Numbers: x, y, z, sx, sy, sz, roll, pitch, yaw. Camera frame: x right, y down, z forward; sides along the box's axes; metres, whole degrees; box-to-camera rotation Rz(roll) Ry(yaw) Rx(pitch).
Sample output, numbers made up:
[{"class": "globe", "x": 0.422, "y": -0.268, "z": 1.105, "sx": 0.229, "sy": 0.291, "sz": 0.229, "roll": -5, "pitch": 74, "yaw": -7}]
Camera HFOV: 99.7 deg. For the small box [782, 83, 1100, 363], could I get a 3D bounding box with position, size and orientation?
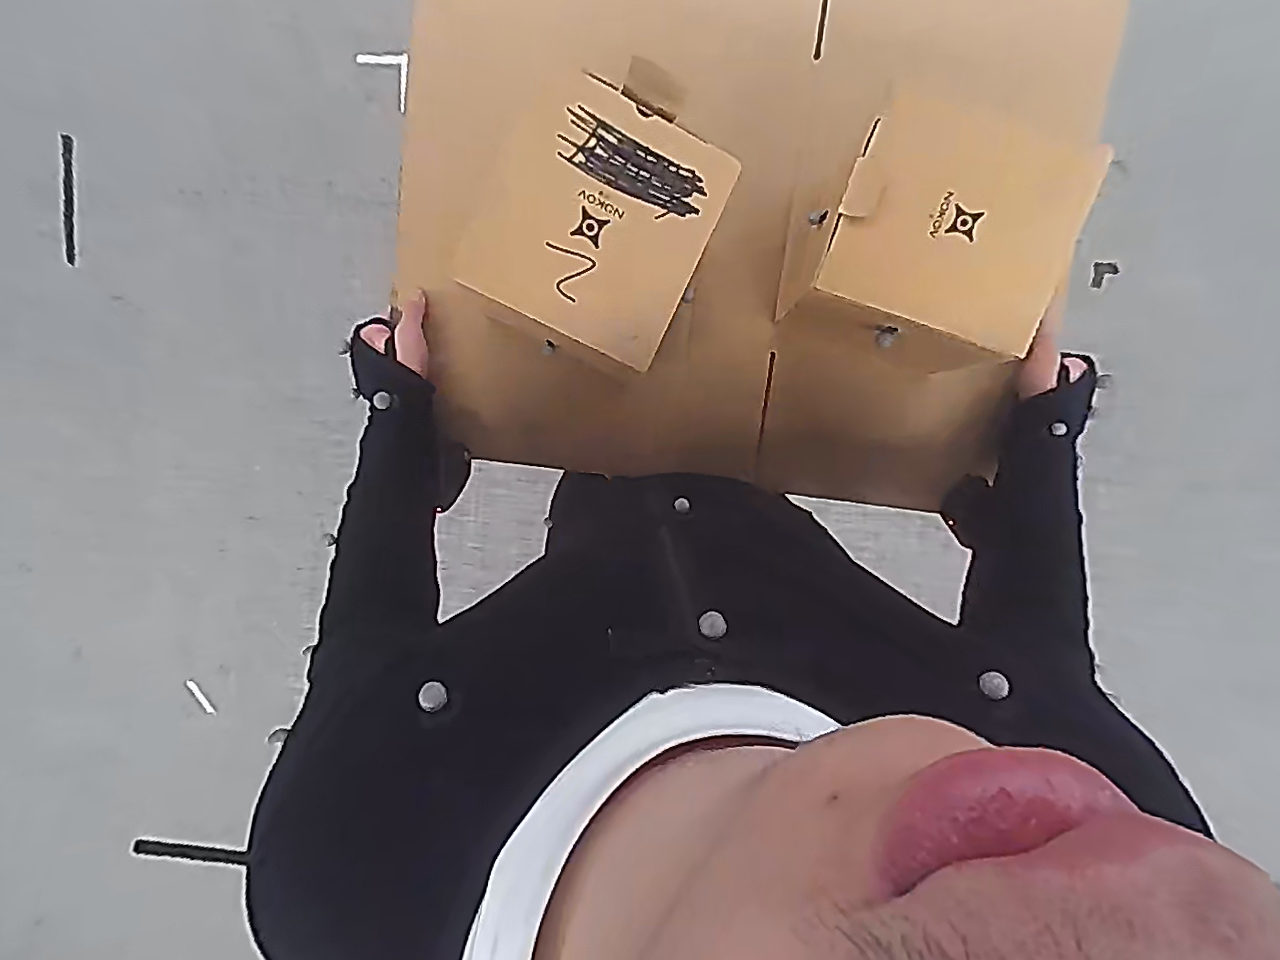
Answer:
[{"class": "small box", "x": 0.255, "y": -0.216, "z": 0.509, "sx": 0.179, "sy": 0.176, "sz": 0.168, "roll": 20, "pitch": 98, "yaw": 3}]
